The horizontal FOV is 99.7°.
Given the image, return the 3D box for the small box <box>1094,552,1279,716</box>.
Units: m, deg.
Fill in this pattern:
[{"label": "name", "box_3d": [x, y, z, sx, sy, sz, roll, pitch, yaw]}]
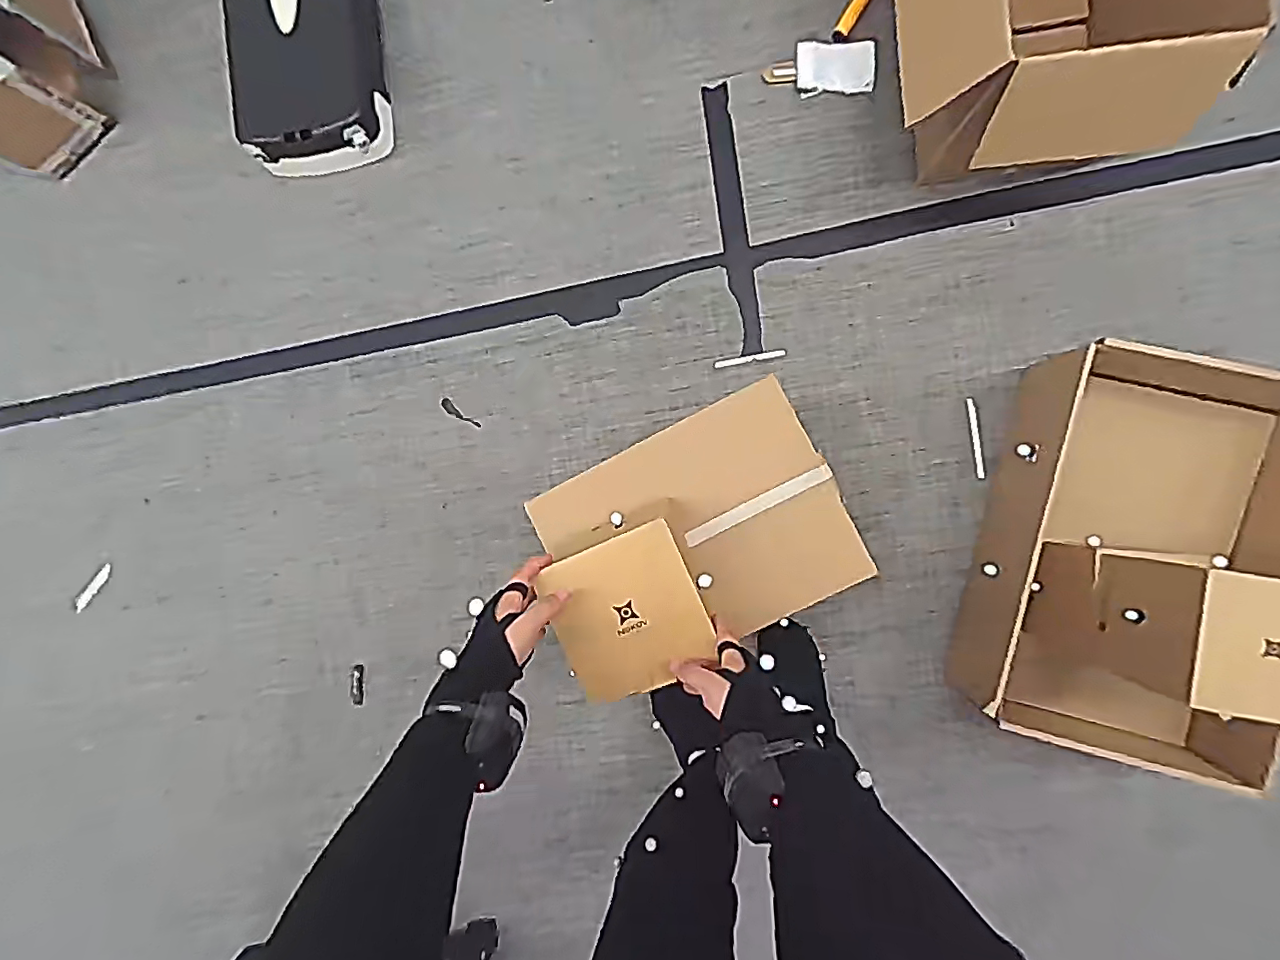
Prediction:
[{"label": "small box", "box_3d": [0.739, 0.191, 0.695, 0.179, 0.176, 0.168, 9, 89, 5]}]
